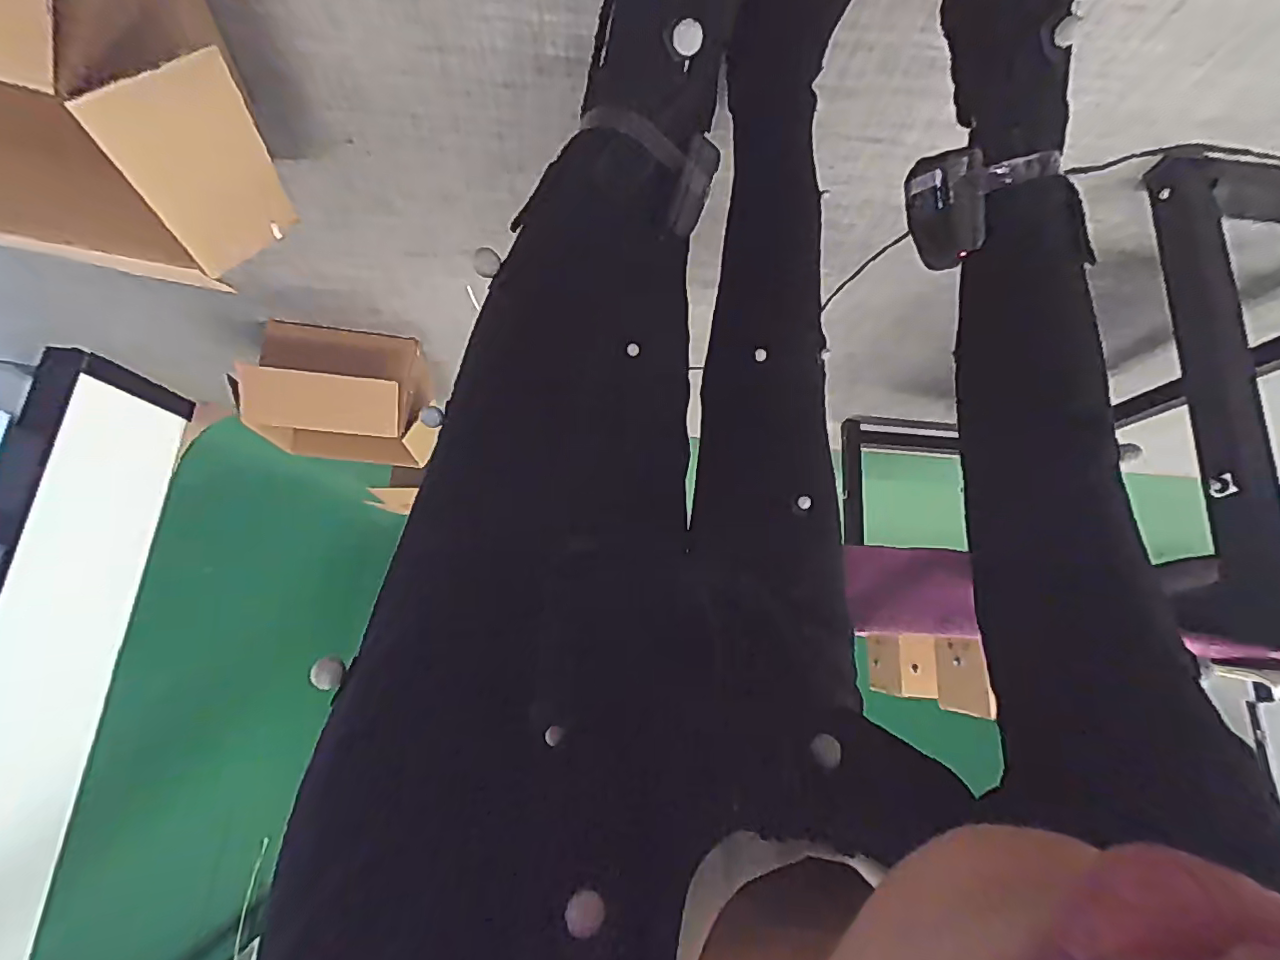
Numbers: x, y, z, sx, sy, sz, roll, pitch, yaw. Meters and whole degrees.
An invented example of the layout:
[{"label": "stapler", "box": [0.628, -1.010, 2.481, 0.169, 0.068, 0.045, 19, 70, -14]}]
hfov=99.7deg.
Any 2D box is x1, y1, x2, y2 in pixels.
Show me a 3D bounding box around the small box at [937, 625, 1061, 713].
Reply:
[{"label": "small box", "box": [0.820, 0.431, 1.249, 0.179, 0.176, 0.168, 6, 165, -7]}]
